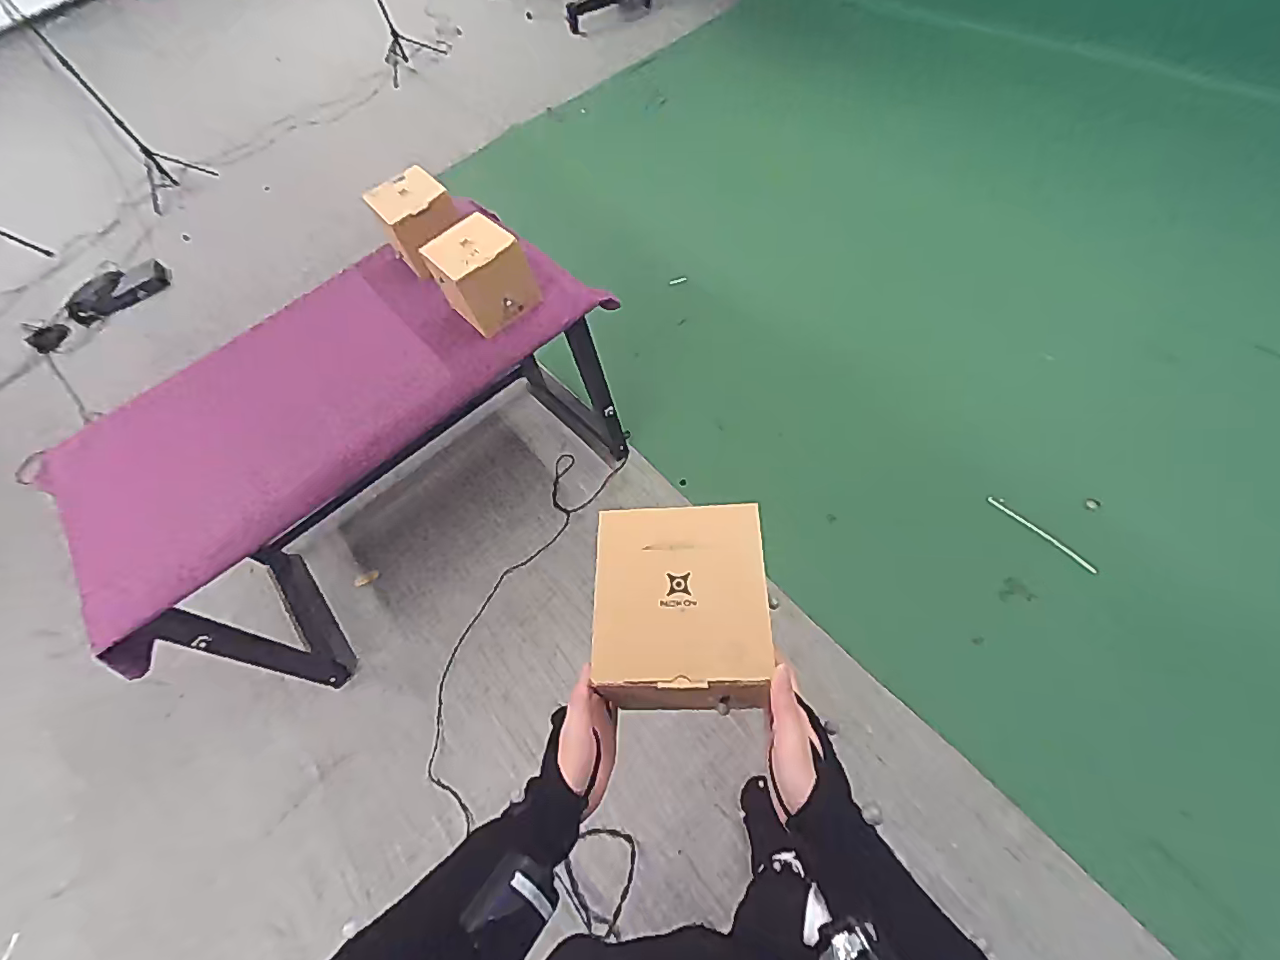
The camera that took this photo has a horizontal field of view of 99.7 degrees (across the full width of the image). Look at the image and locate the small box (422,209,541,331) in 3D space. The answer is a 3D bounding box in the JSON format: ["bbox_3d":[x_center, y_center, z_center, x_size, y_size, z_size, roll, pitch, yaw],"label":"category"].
[{"bbox_3d":[-0.358,-0.477,1.241,0.168,0.176,0.179,-40,61,-12],"label":"small box"}]

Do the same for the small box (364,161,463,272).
[{"bbox_3d":[-0.560,-0.668,1.390,0.168,0.176,0.179,-38,63,-12],"label":"small box"}]

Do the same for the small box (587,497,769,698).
[{"bbox_3d":[0.045,0.135,0.586,0.168,0.176,0.179,-2,60,6],"label":"small box"}]
